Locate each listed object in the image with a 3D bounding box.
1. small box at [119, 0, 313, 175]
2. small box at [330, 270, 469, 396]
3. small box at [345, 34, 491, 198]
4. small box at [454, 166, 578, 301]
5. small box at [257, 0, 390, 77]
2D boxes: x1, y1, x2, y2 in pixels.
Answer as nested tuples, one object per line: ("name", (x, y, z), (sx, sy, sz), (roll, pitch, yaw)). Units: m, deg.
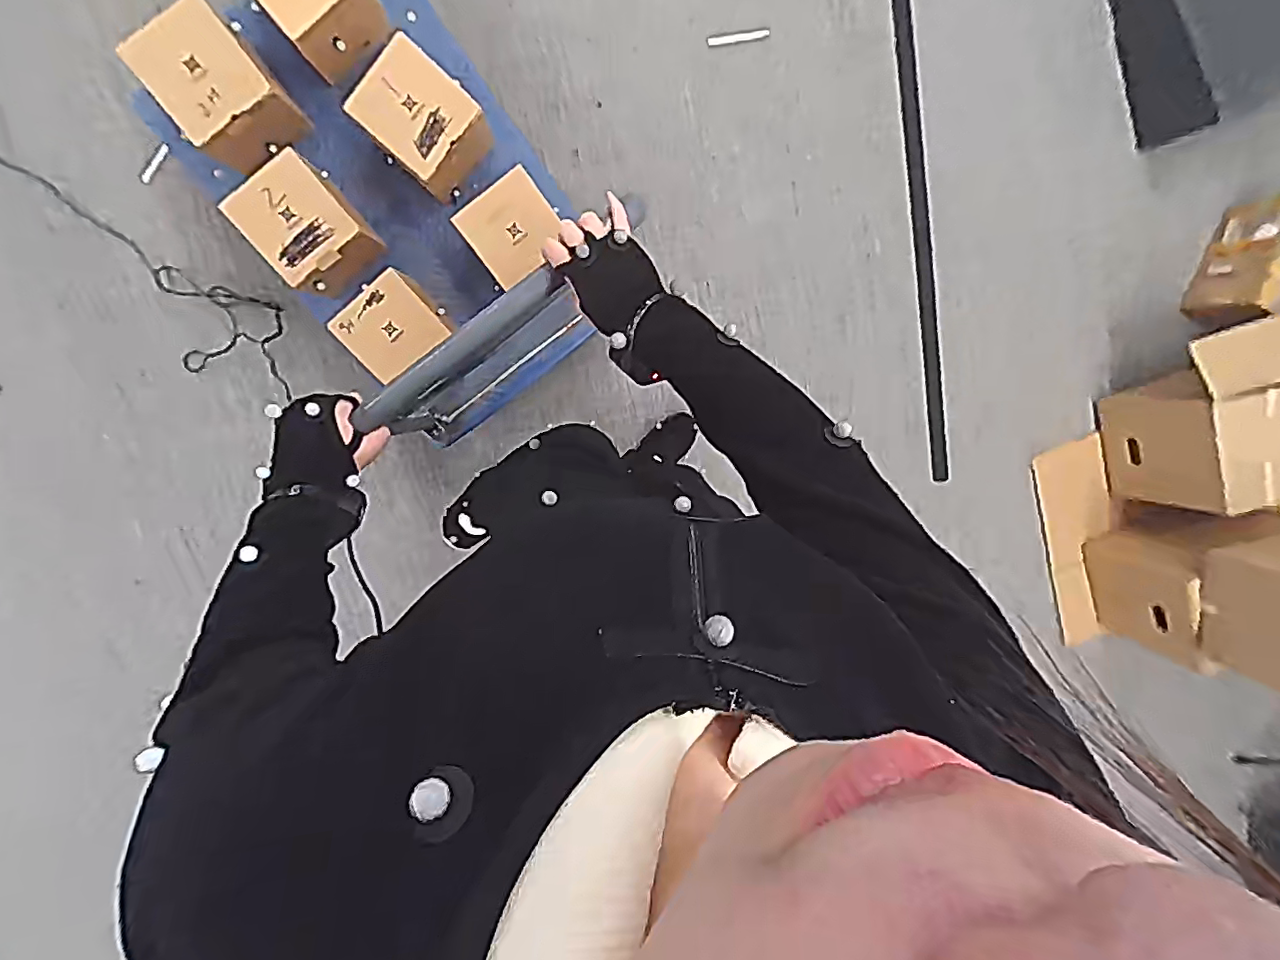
("small box", (-0.742, -0.693, 0.972), (0.168, 0.176, 0.179), (-36, 105, 1))
("small box", (-0.472, -0.293, 1.098), (0.168, 0.176, 0.179), (-41, 105, 1))
("small box", (-0.405, -0.668, 1.025), (0.179, 0.176, 0.168), (39, 95, -13))
("small box", (-0.240, -0.481, 1.090), (0.168, 0.176, 0.179), (-37, 104, 1))
("small box", (-0.582, -0.864, 0.958), (0.168, 0.176, 0.179), (-41, 104, 3))
